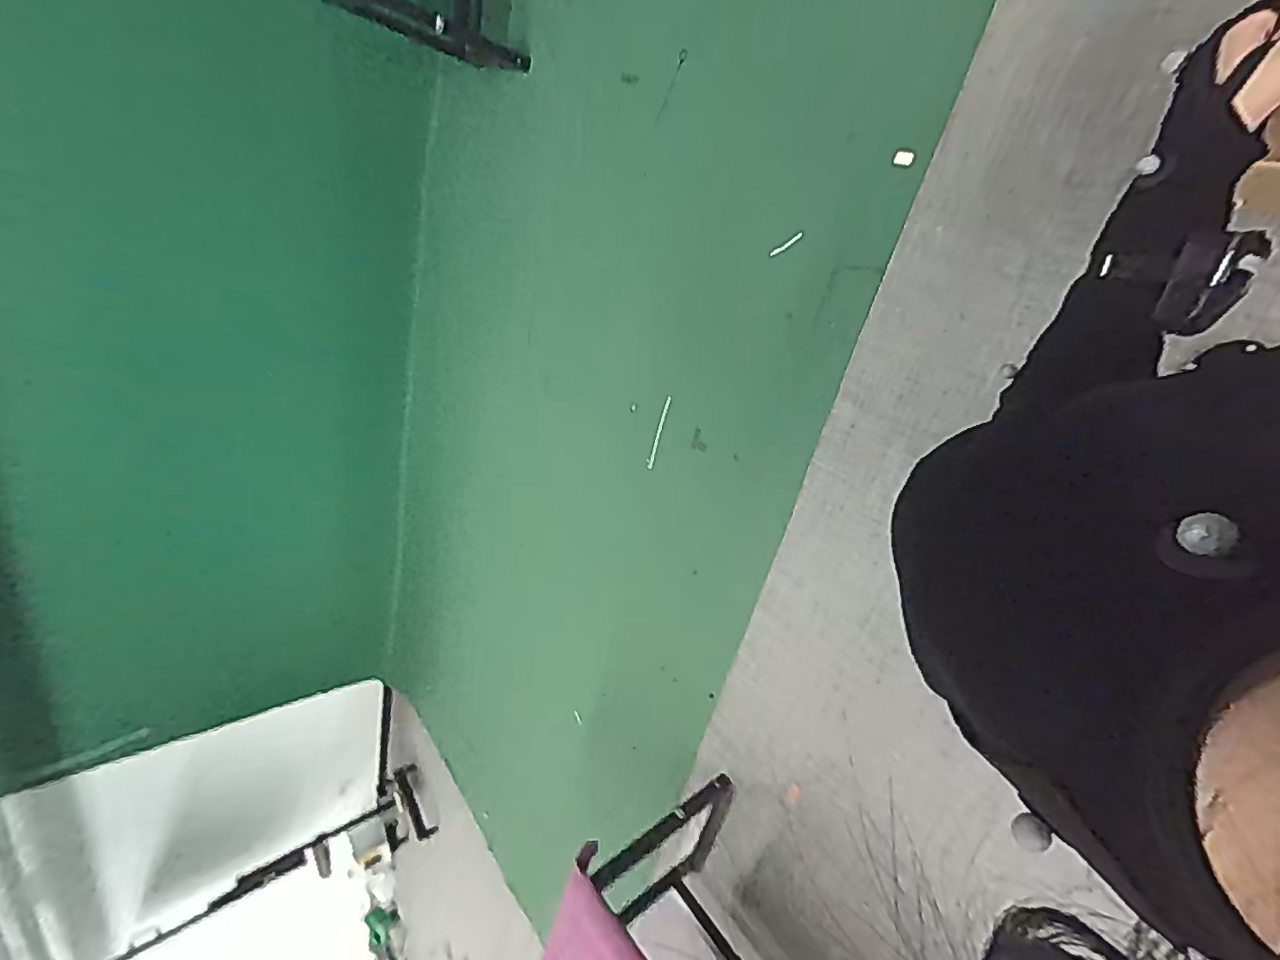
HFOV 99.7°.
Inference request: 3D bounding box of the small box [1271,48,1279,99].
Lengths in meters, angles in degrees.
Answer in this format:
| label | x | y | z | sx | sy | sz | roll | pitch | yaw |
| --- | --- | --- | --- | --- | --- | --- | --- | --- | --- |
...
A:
| label | x | y | z | sx | sy | sz | roll | pitch | yaw |
| --- | --- | --- | --- | --- | --- | --- | --- | --- | --- |
| small box | 0.511 | -0.312 | 0.290 | 0.179 | 0.176 | 0.168 | 31 | 128 | 37 |
